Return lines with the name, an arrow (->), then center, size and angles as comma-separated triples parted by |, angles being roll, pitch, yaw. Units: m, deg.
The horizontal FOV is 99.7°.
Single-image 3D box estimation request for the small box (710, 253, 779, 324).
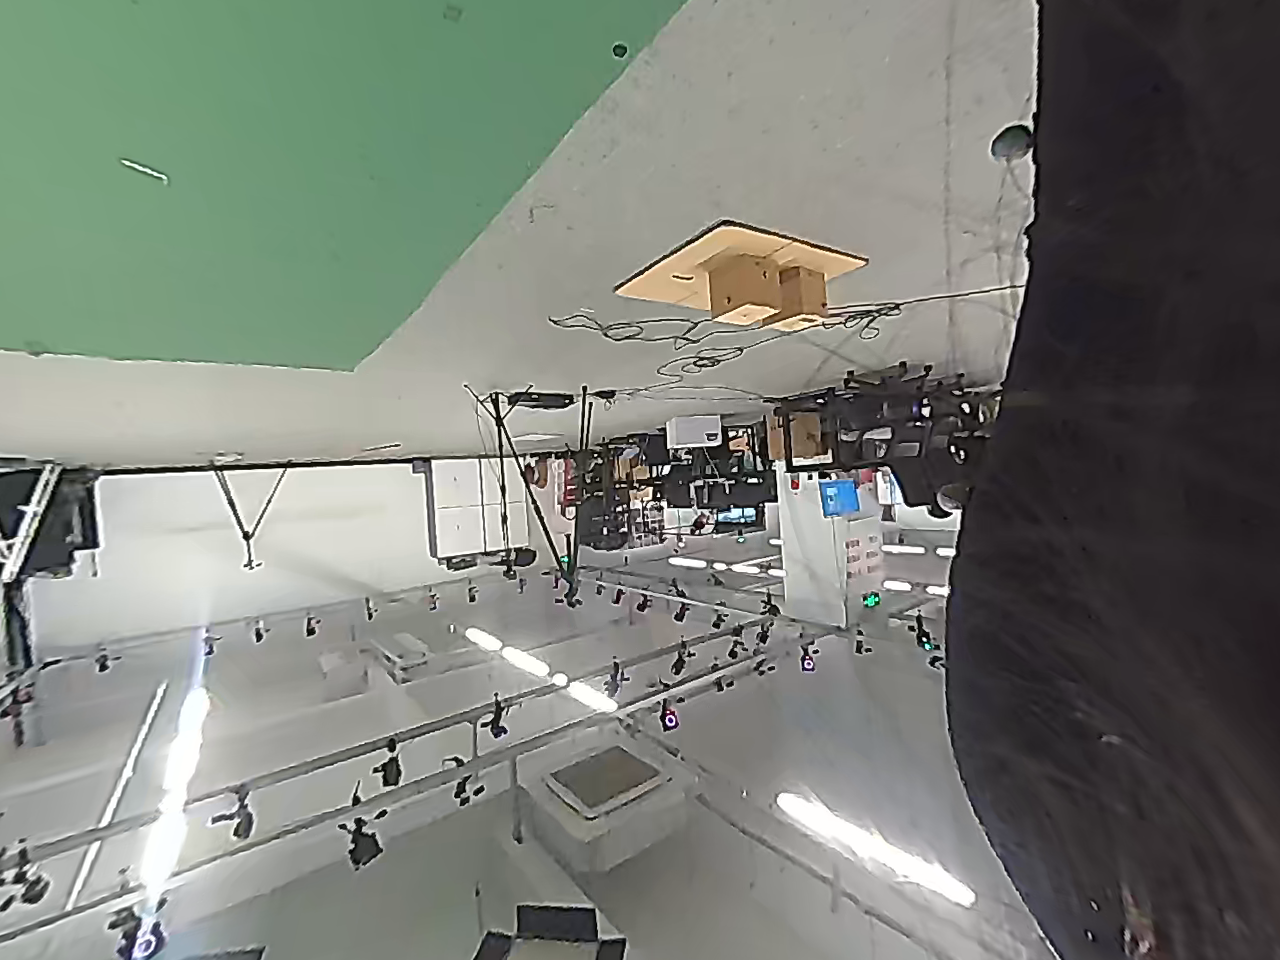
small box -> 0.353, -0.648, 1.845 | 0.168, 0.176, 0.179 | -4, 179, -33
